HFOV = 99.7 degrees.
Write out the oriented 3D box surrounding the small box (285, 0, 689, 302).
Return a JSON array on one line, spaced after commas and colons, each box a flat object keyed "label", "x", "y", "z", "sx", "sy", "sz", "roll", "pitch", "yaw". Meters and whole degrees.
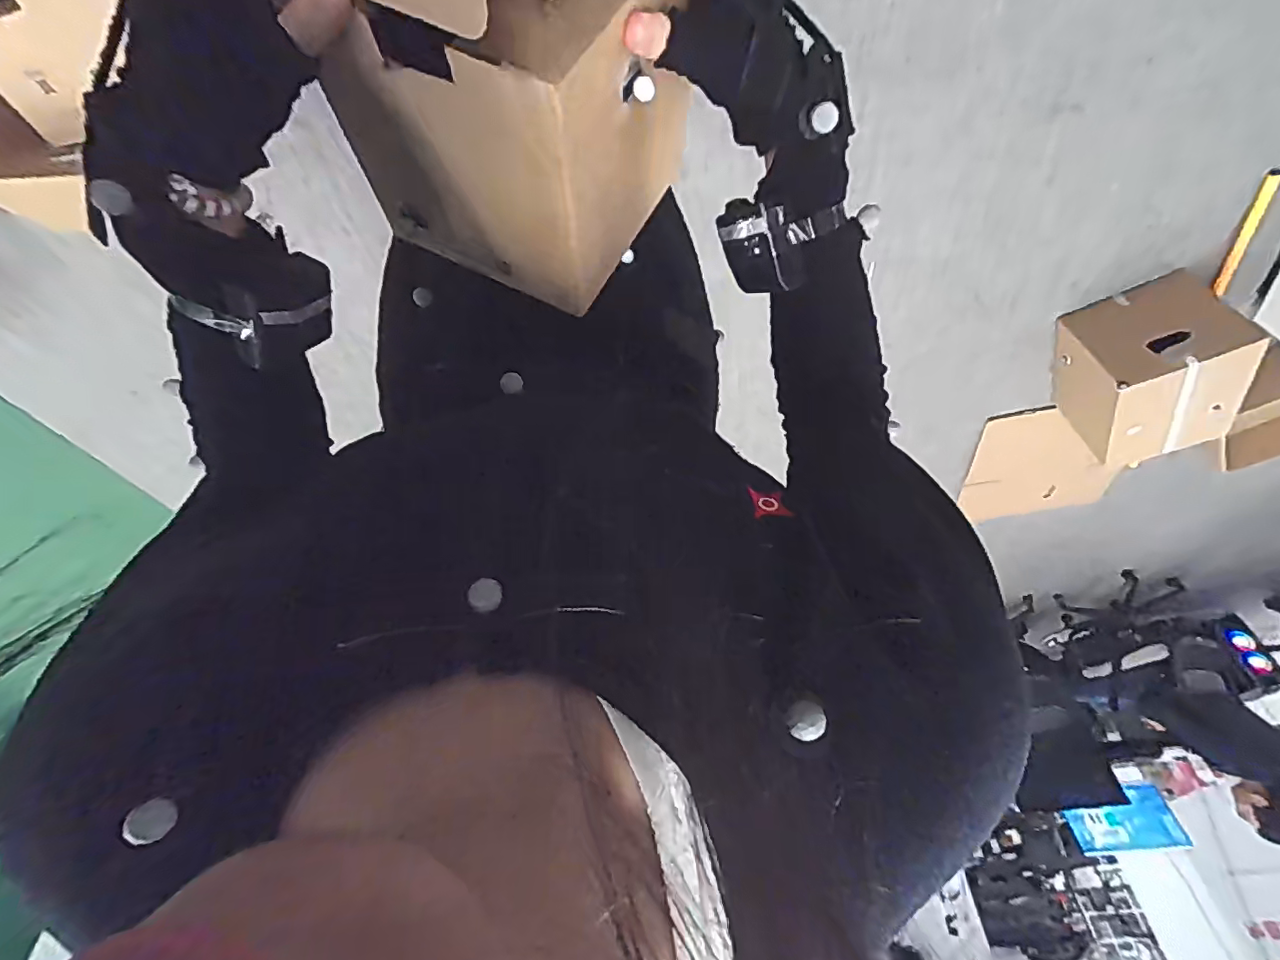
[{"label": "small box", "x": -0.073, "y": -0.255, "z": 0.362, "sx": 0.168, "sy": 0.179, "sz": 0.176, "roll": 26, "pitch": 161, "yaw": 7}]
